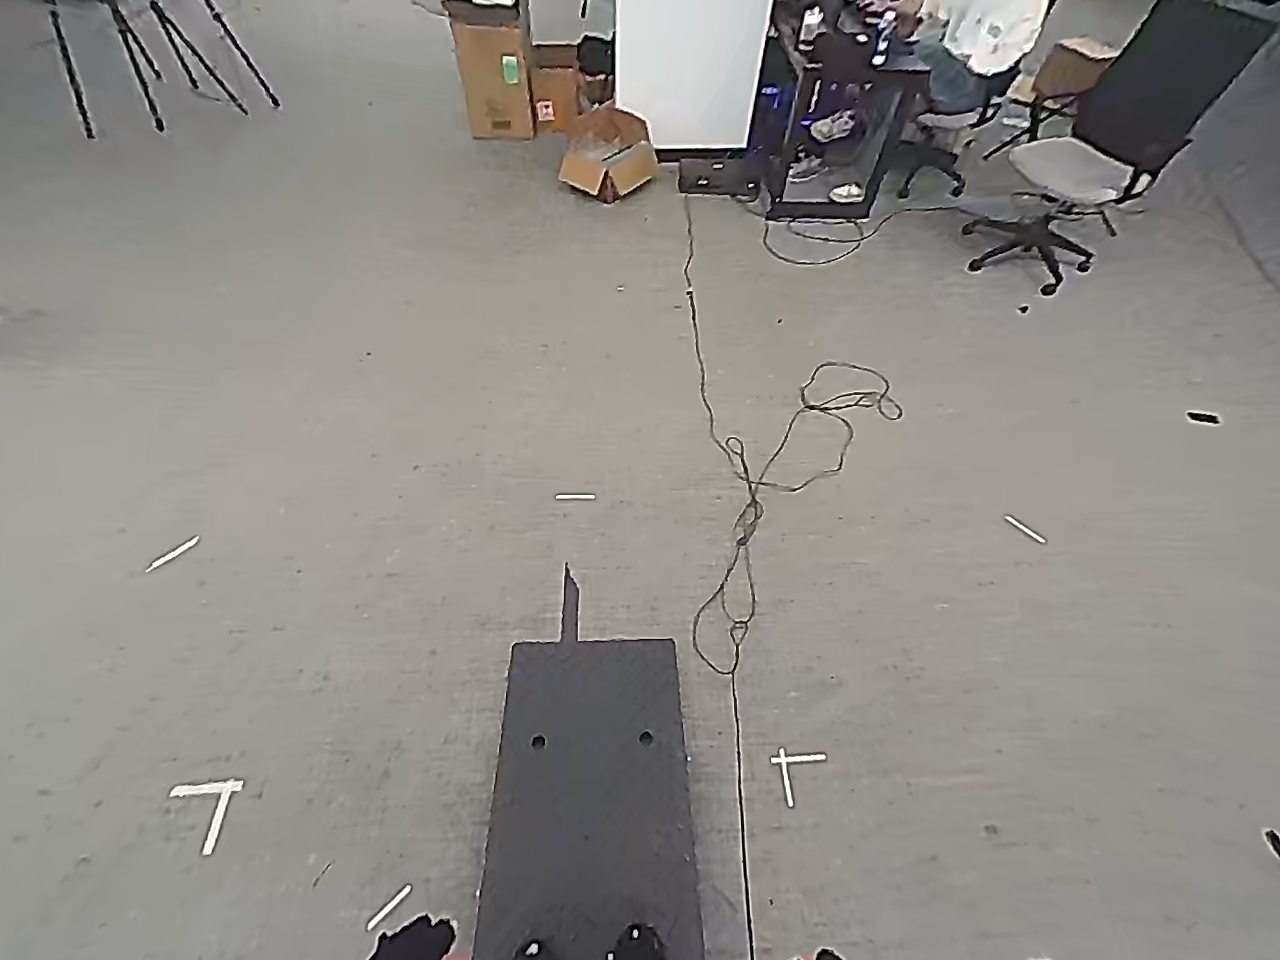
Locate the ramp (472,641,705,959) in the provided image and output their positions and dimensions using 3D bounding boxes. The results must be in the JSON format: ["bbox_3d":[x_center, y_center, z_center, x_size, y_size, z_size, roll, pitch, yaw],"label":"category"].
[{"bbox_3d":[-0.117,0.848,1.289,0.509,0.206,0.991,-3,54,-3],"label":"ramp"}]
